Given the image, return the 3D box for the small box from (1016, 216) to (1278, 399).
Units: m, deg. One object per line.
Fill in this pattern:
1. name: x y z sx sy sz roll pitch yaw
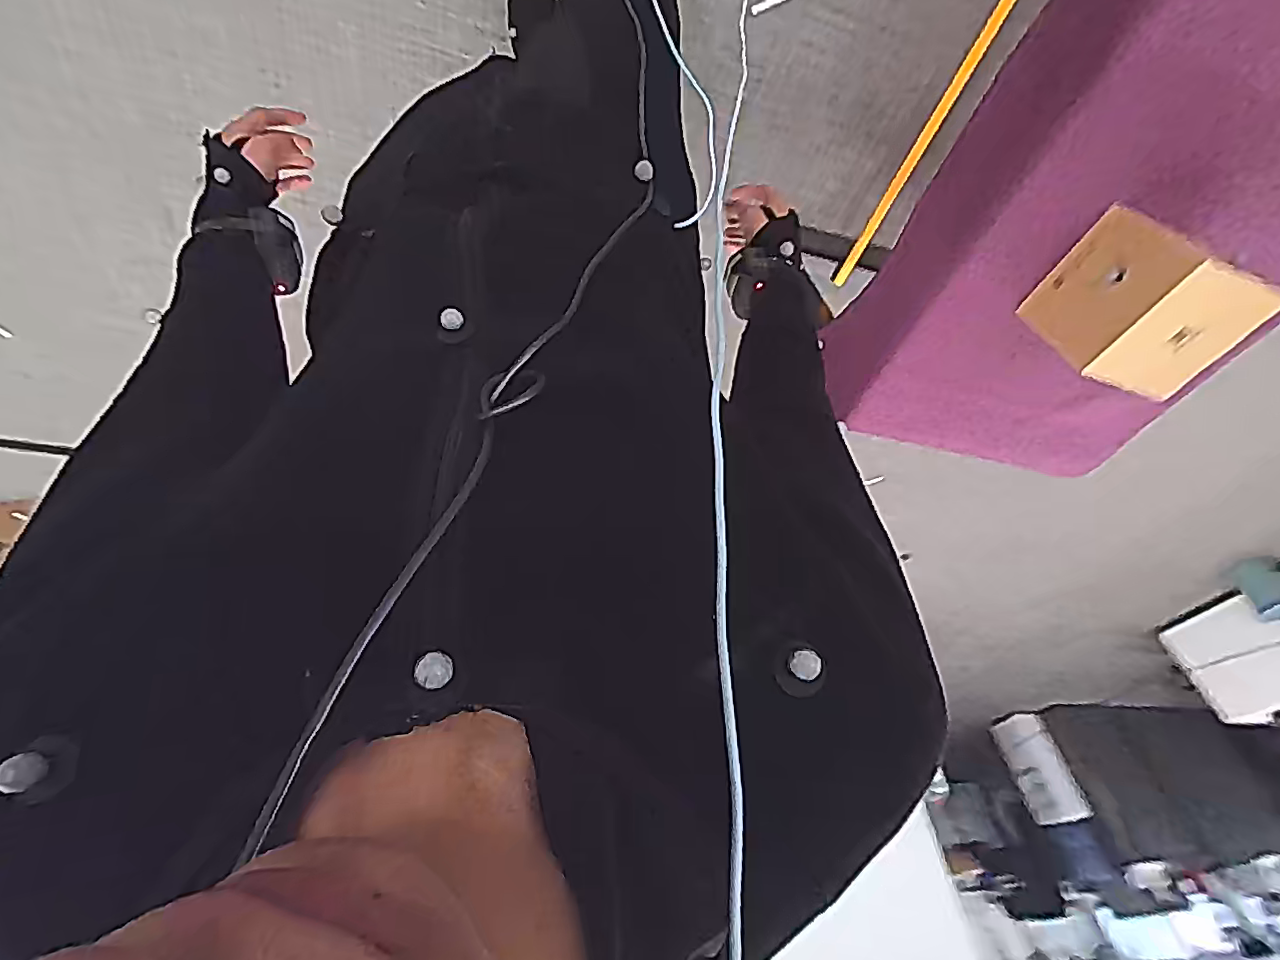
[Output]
1. small box: 0.689 -0.244 0.761 0.179 0.176 0.168 10 135 -18
